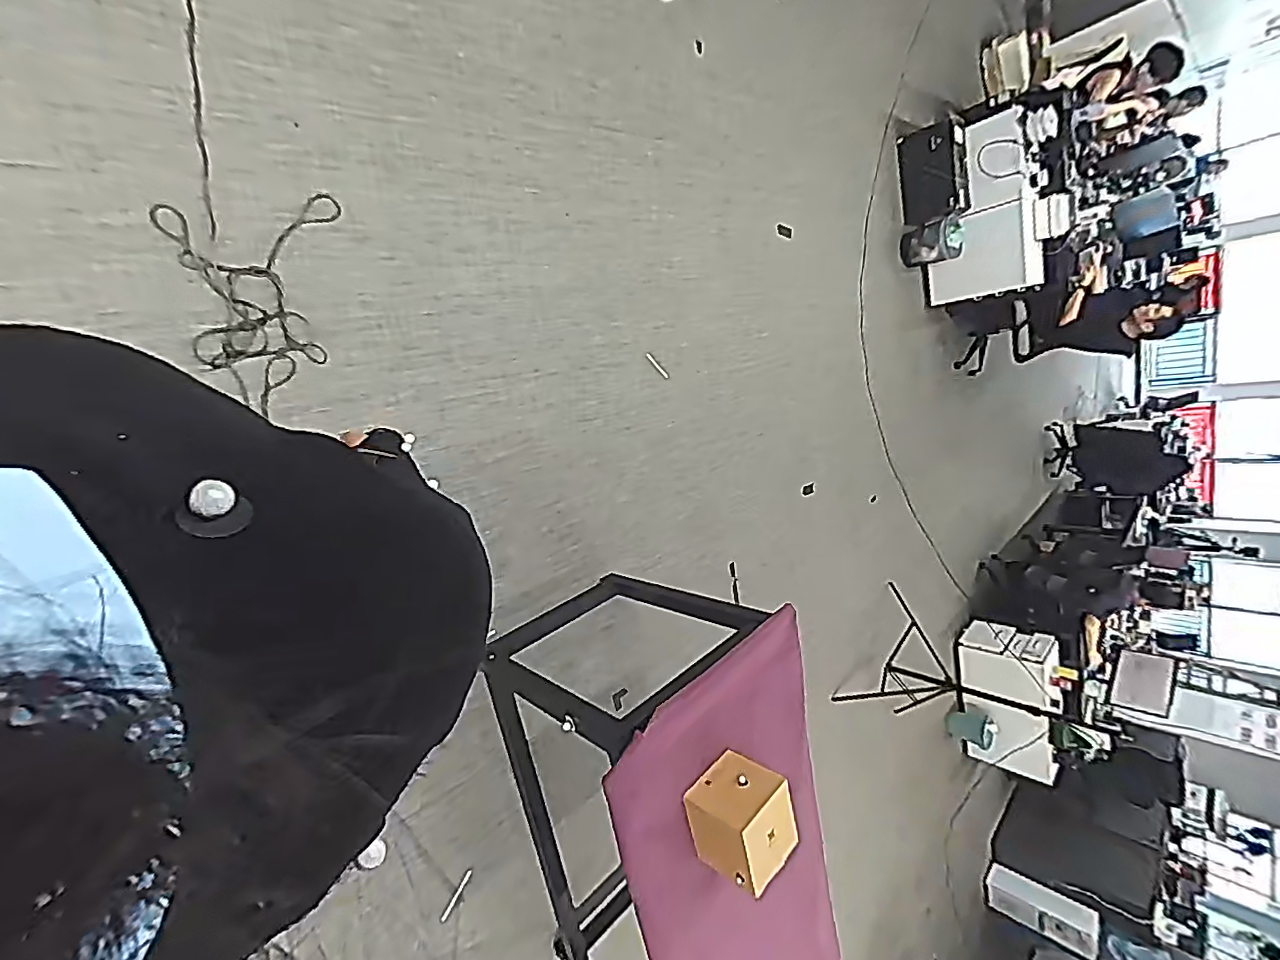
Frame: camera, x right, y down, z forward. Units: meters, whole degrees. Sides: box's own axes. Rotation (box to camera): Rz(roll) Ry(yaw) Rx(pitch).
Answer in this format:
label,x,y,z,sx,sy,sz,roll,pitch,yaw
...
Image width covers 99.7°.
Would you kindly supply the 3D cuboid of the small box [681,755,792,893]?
label,x,y,z,sx,sy,sz,roll,pitch,yaw
small box,0.211,0.746,1.202,0.168,0.176,0.179,-25,108,-39
